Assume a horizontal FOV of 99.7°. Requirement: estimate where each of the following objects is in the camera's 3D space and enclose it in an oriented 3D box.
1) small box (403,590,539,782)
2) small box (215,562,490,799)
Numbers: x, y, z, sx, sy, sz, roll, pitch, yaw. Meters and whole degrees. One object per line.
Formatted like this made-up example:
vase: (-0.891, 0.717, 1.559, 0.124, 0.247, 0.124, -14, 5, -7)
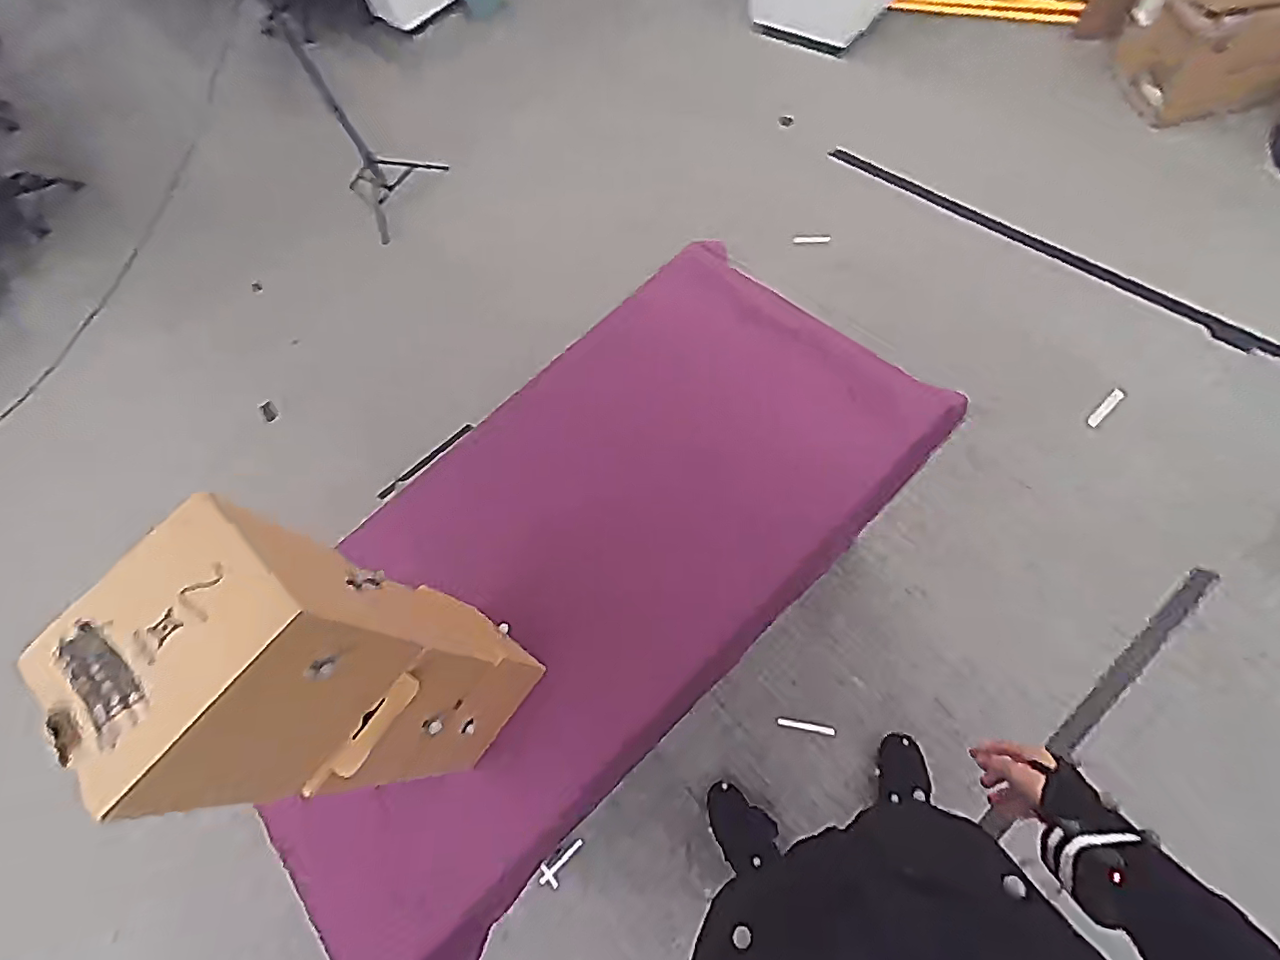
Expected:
small box: (-0.272, 0.288, 0.761, 0.168, 0.176, 0.179, 32, 74, 22)
small box: (-0.310, 0.224, 0.614, 0.179, 0.176, 0.168, 30, 75, 21)
